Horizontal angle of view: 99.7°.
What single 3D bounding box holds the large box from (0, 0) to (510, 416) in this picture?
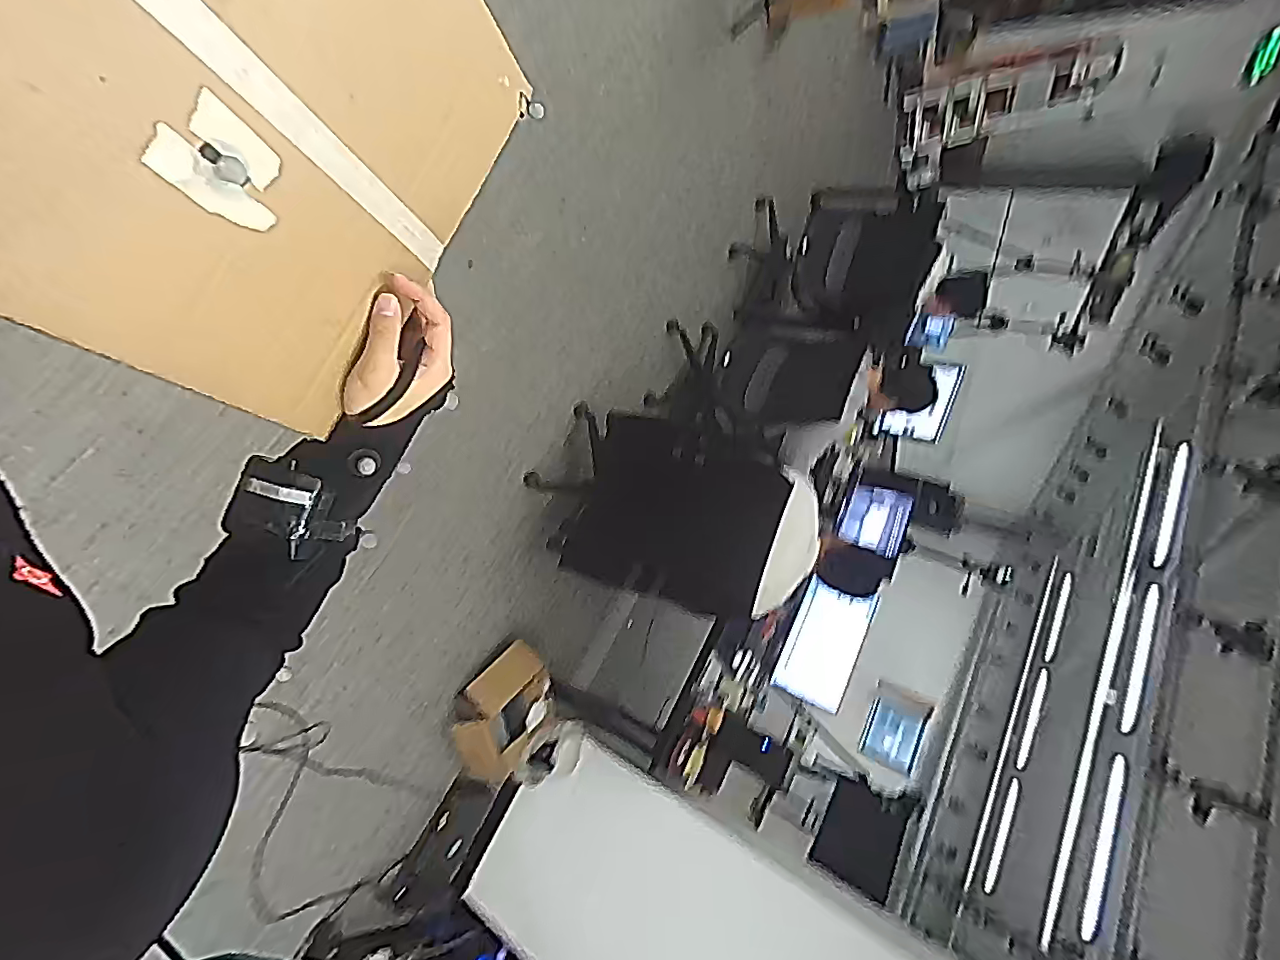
[{"bbox_3d":[-0.352,-0.279,0.282,0.320,0.320,0.408,-64,158,-5],"label":"large box"}]
